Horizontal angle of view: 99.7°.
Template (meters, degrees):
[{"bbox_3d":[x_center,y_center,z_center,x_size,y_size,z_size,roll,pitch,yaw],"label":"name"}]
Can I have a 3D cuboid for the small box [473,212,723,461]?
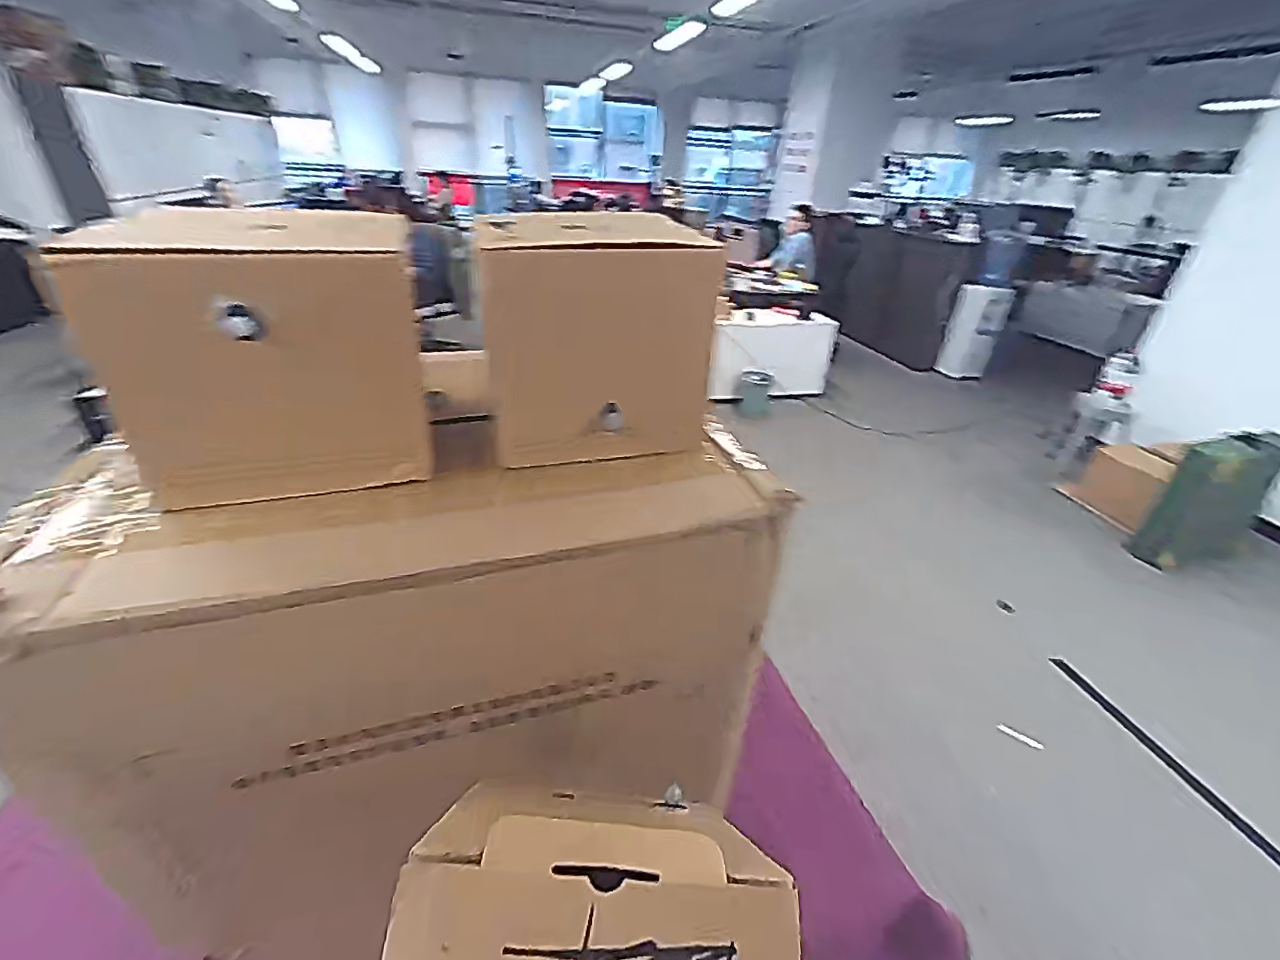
[{"bbox_3d":[-0.048,-0.131,0.477,0.179,0.176,0.168,-7,32,-16],"label":"small box"}]
